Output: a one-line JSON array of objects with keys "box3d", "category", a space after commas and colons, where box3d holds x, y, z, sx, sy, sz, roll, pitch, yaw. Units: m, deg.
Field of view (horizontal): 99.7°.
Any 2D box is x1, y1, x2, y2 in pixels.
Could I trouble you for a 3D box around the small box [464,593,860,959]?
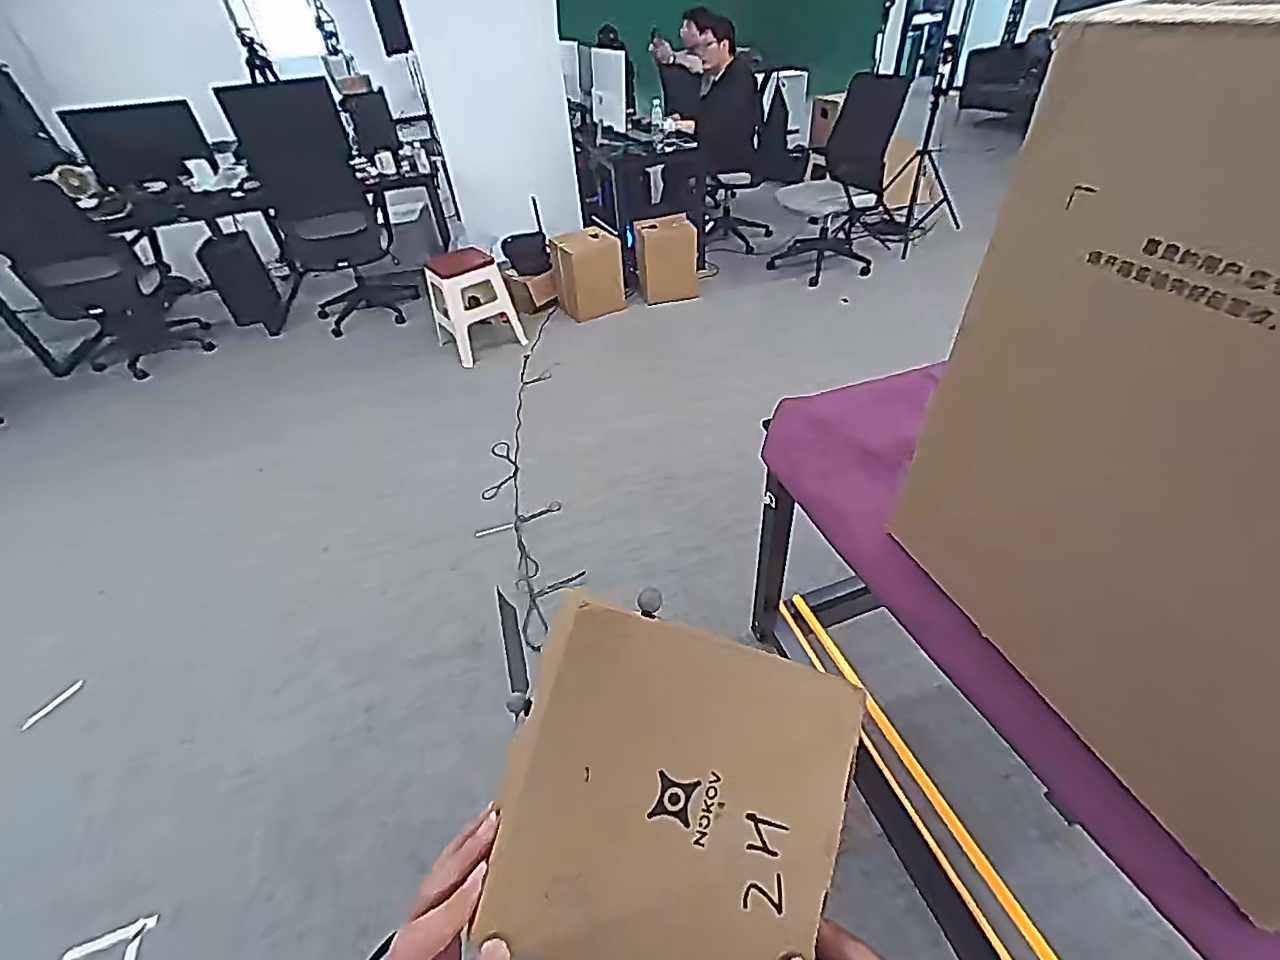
[{"box3d": [0.006, 0.178, 0.358, 0.179, 0.176, 0.168, 19, 78, -8], "category": "small box"}]
